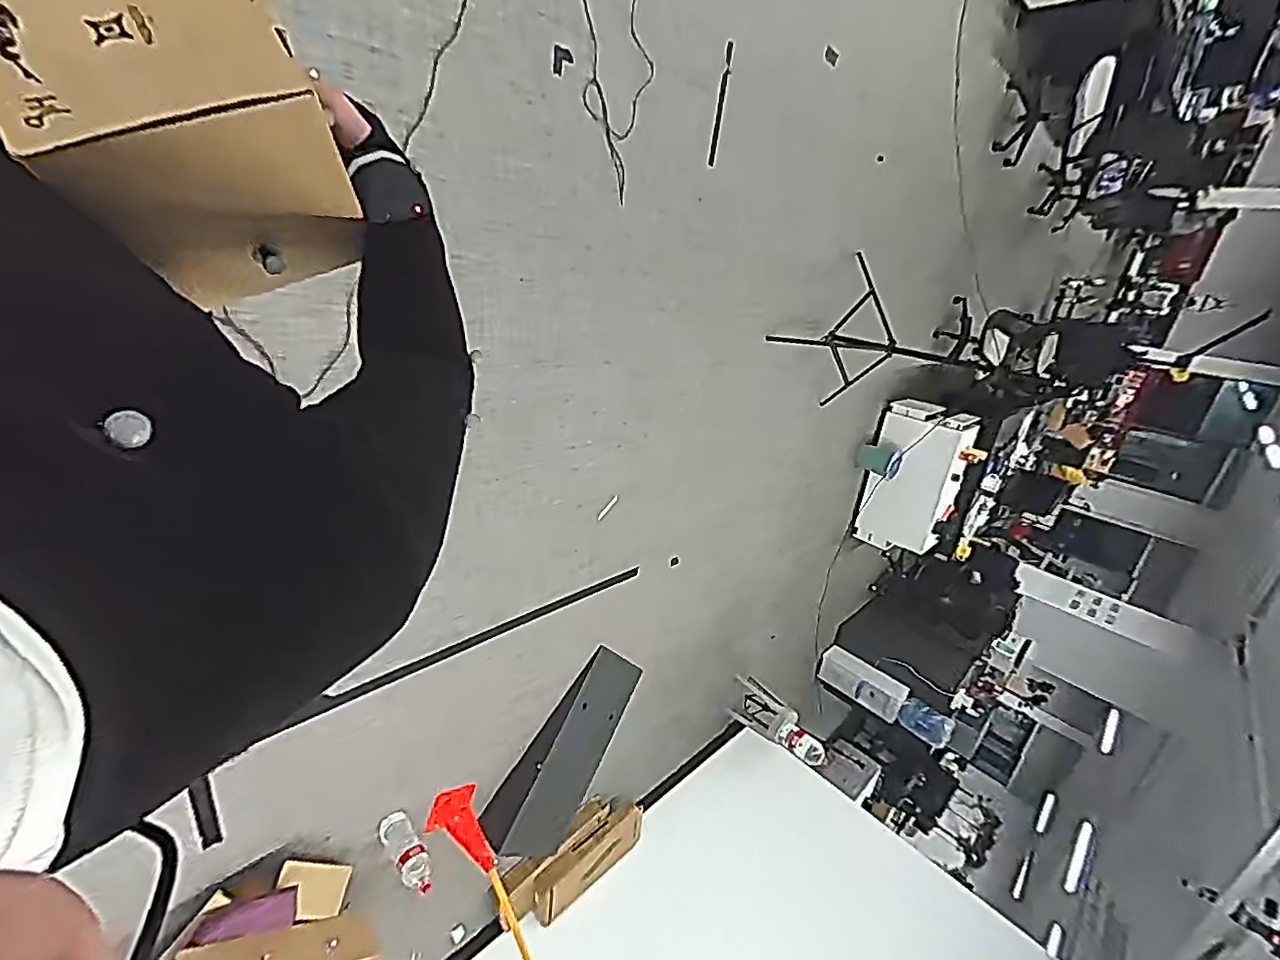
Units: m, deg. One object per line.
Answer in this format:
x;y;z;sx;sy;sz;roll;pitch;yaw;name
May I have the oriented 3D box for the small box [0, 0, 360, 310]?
-0.360;-0.276;0.450;0.179;0.168;0.176;-29;170;-18;small box
